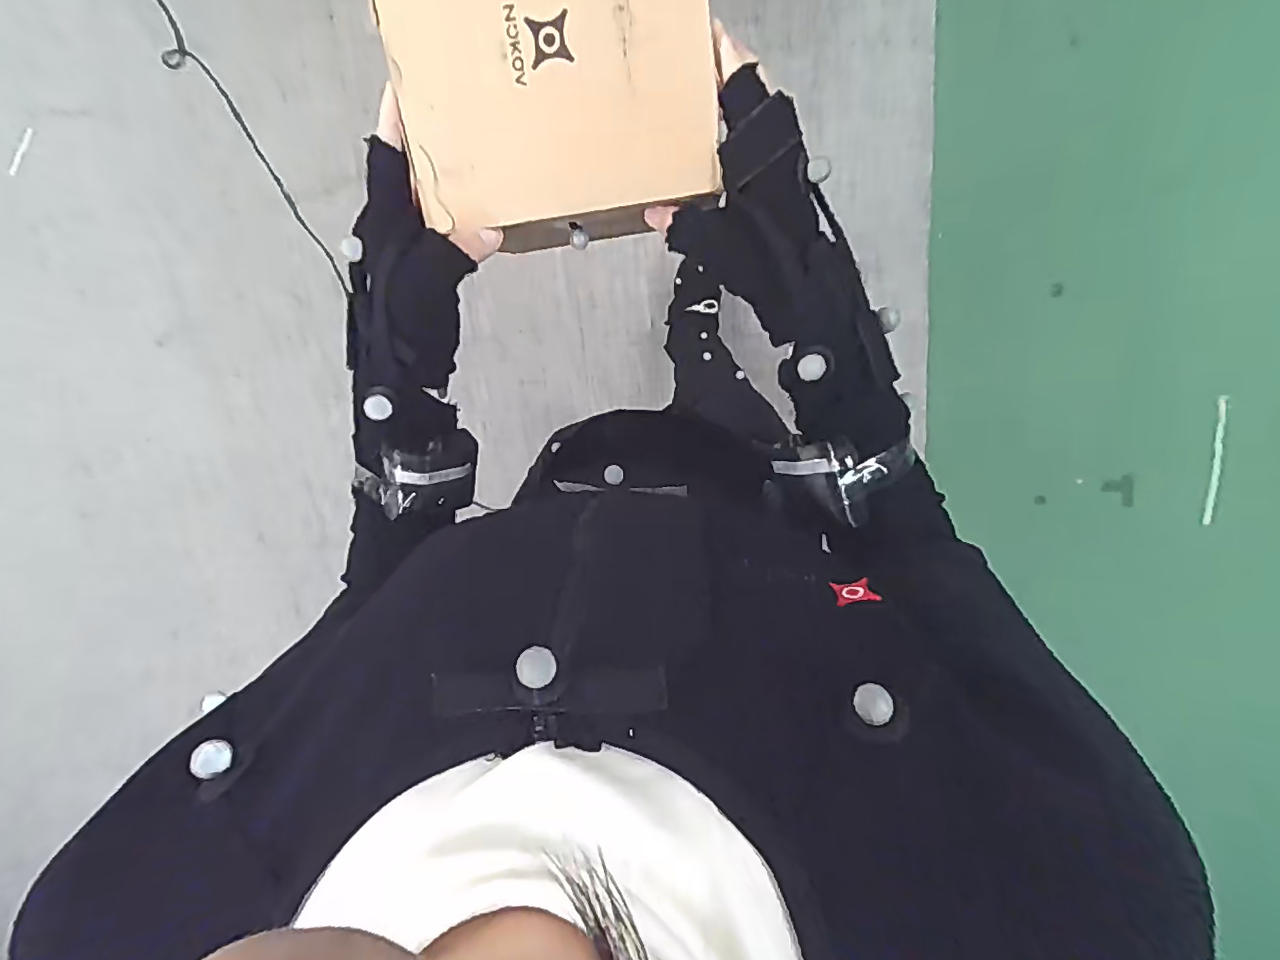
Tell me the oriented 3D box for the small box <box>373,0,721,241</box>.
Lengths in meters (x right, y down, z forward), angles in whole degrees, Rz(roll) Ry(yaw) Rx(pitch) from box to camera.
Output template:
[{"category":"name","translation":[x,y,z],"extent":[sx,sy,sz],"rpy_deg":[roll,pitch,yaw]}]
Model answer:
[{"category":"small box","translation":[-0.043,-0.261,0.357],"extent":[0.179,0.176,0.168],"rpy_deg":[-6,110,7]}]
